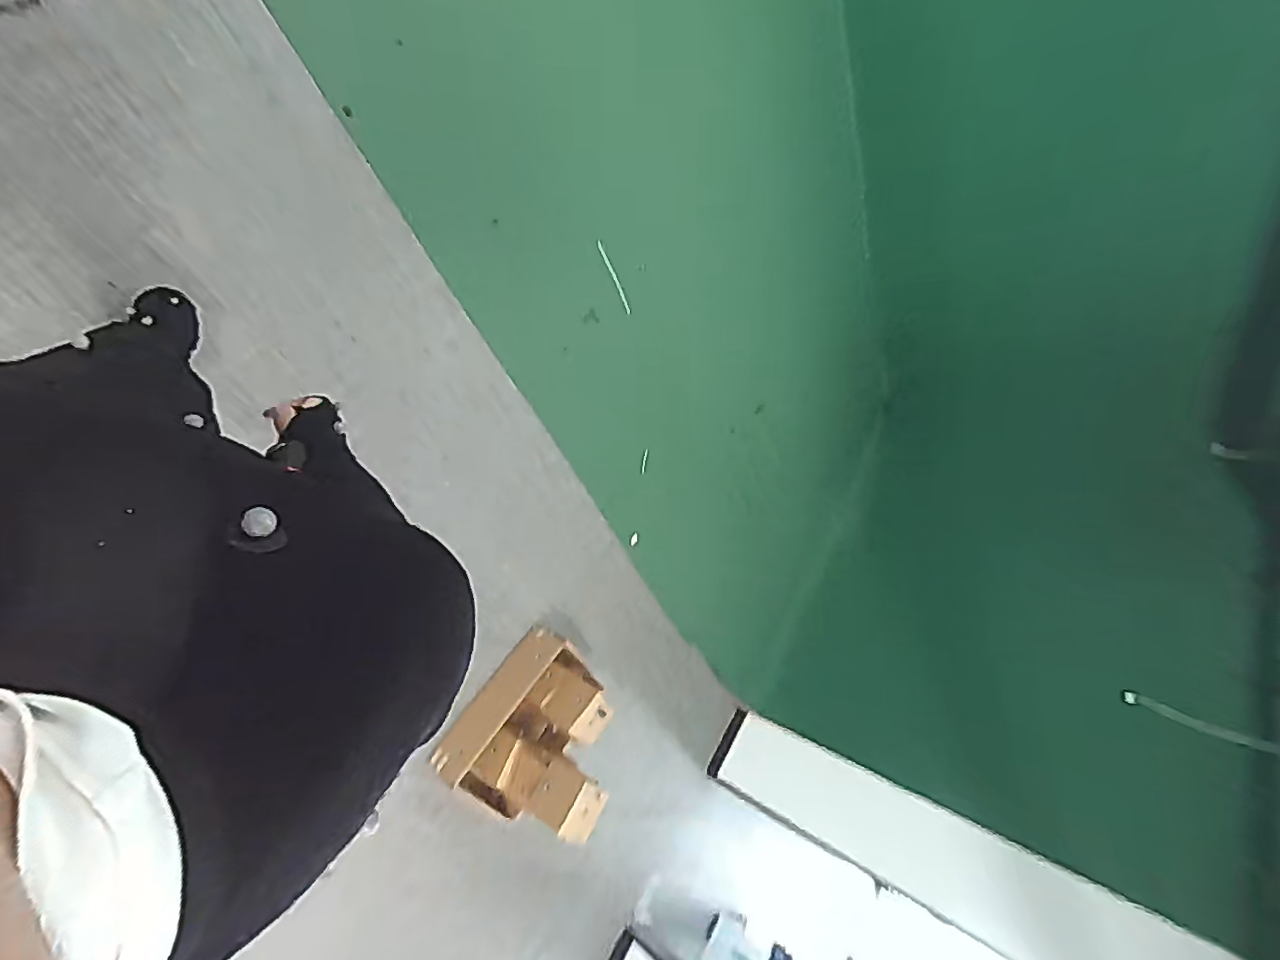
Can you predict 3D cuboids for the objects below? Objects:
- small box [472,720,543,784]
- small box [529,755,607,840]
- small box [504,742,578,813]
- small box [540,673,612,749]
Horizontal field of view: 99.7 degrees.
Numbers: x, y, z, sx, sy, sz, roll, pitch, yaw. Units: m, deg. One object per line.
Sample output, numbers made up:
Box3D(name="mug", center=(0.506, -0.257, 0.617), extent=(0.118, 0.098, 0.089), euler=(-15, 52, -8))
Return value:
Box3D(name="small box", center=(-0.501, 1.032, 2.046), extent=(0.179, 0.176, 0.168), euler=(43, 66, -46))
Box3D(name="small box", center=(-0.251, 1.079, 1.842), extent=(0.179, 0.176, 0.168), euler=(-57, 135, -22))
Box3D(name="small box", center=(-0.363, 1.073, 1.963), extent=(0.179, 0.176, 0.168), euler=(28, 78, -49))
Box3D(name="small box", center=(-0.243, 0.866, 2.046), extent=(0.179, 0.176, 0.168), euler=(-47, 132, -29))
